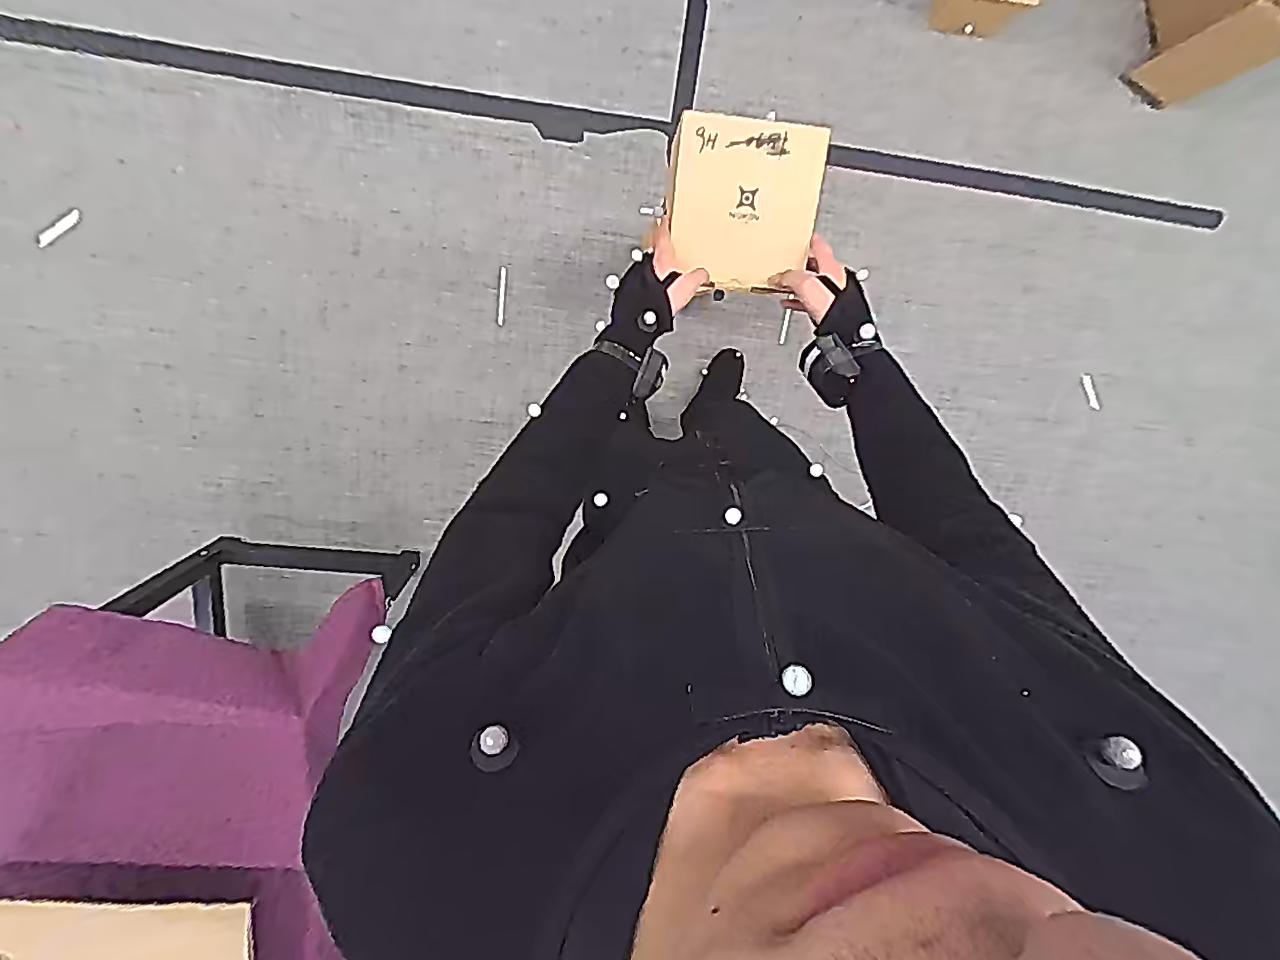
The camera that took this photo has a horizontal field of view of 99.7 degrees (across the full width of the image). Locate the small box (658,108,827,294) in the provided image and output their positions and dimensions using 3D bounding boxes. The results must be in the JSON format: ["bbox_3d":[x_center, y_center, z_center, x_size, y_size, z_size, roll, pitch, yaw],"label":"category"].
[{"bbox_3d":[0.115,-0.342,0.693,0.168,0.176,0.179,6,110,-4],"label":"small box"}]
